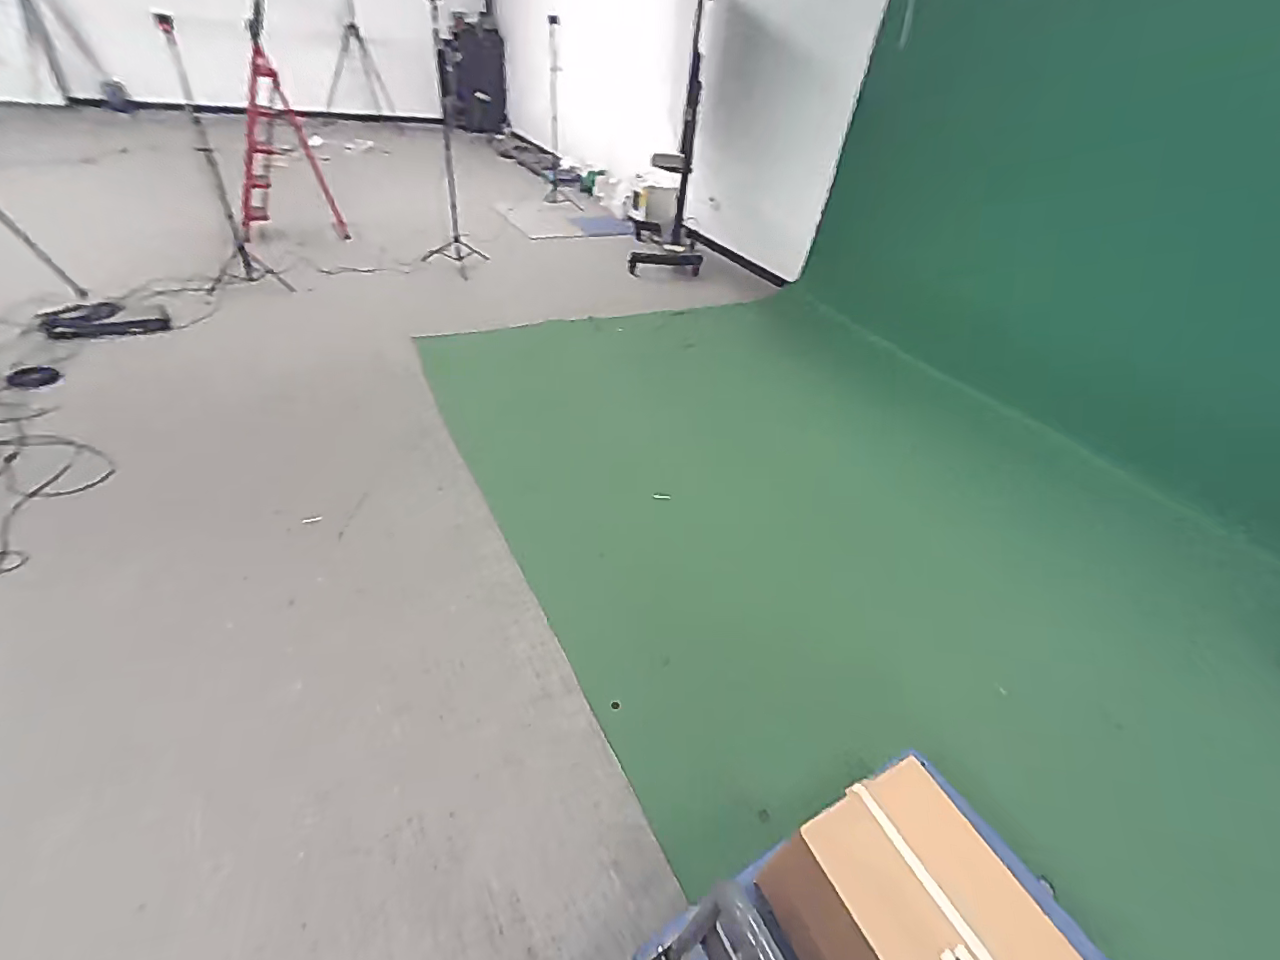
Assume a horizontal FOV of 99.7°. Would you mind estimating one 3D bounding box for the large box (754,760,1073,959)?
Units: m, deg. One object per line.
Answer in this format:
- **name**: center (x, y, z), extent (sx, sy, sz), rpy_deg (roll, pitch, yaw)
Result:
- **large box**: center (0.485, 0.837, 1.017), extent (0.320, 0.320, 0.408), rpy_deg (-14, 45, -25)
